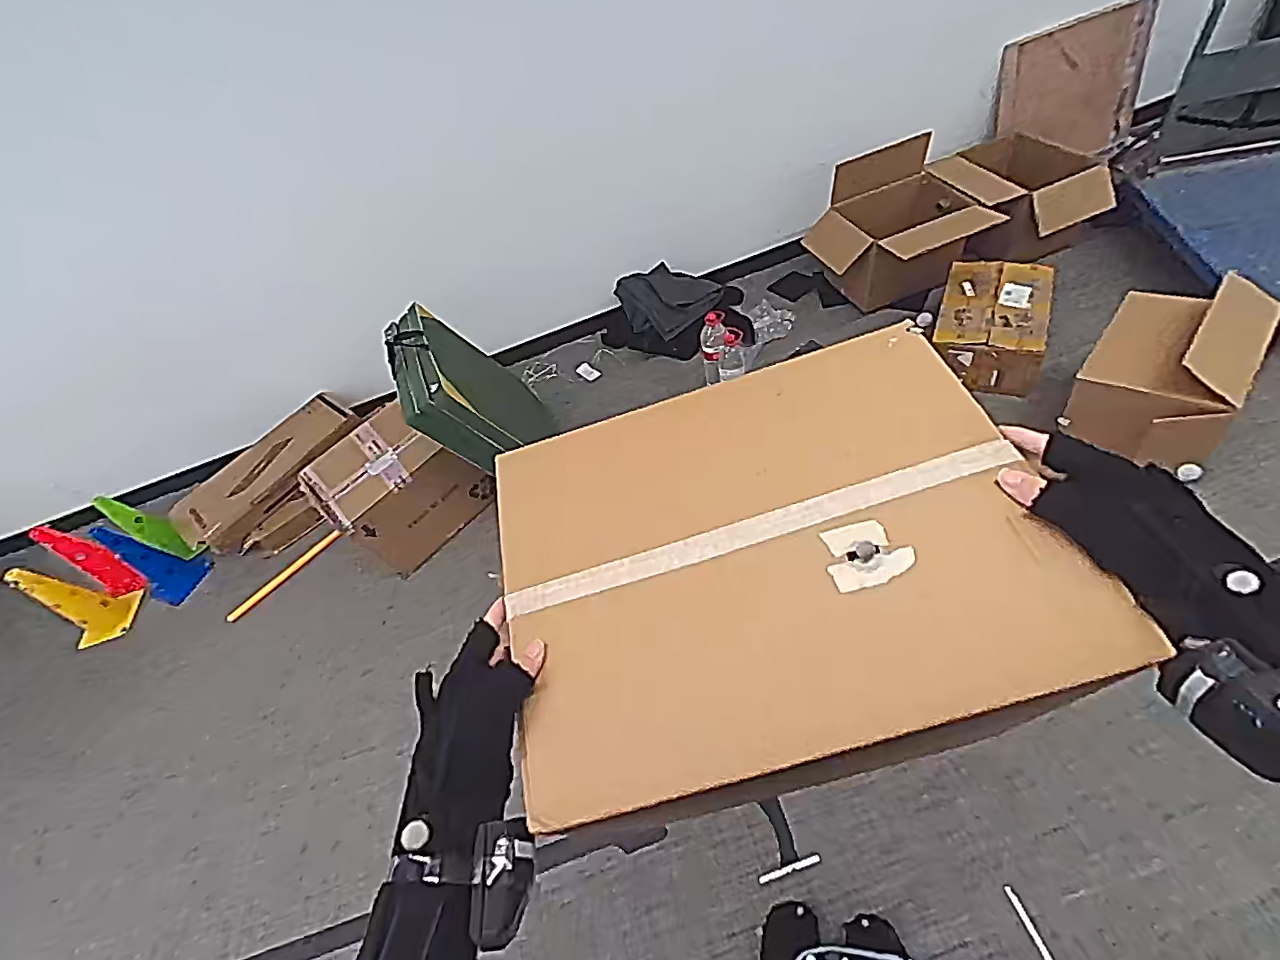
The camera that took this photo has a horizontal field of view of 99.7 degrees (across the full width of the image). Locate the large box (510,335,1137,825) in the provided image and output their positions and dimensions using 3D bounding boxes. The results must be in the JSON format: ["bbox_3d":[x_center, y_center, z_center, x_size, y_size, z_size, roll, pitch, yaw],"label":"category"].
[{"bbox_3d":[0.125,0.123,0.554,0.408,0.320,0.320,-18,56,3],"label":"large box"}]
